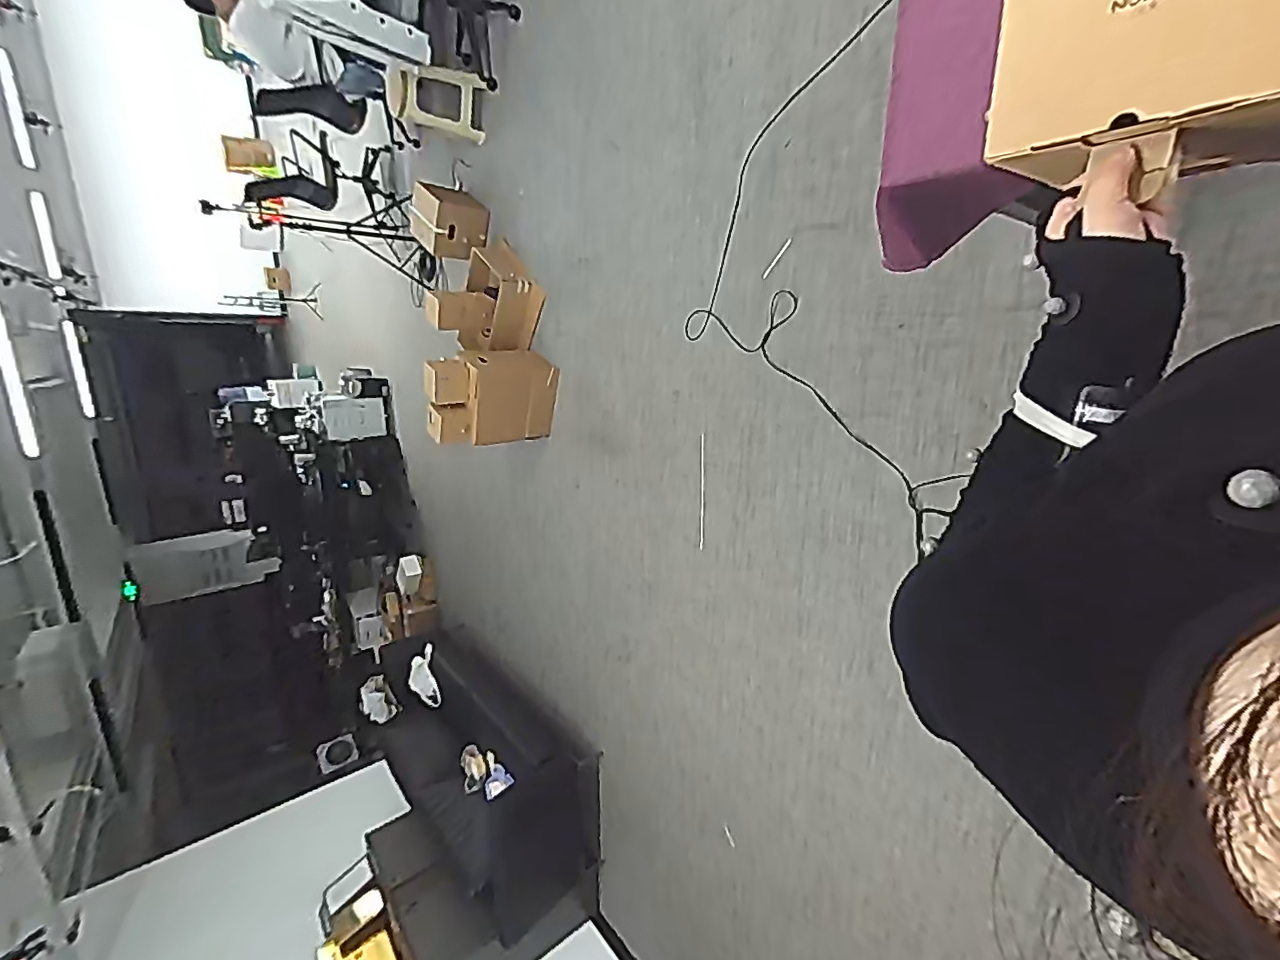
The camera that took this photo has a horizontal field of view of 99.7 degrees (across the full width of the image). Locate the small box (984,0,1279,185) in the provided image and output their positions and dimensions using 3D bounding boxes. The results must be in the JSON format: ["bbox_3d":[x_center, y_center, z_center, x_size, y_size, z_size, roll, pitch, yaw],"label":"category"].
[{"bbox_3d":[0.382,-0.332,0.388,0.168,0.176,0.179,18,117,50],"label":"small box"}]
